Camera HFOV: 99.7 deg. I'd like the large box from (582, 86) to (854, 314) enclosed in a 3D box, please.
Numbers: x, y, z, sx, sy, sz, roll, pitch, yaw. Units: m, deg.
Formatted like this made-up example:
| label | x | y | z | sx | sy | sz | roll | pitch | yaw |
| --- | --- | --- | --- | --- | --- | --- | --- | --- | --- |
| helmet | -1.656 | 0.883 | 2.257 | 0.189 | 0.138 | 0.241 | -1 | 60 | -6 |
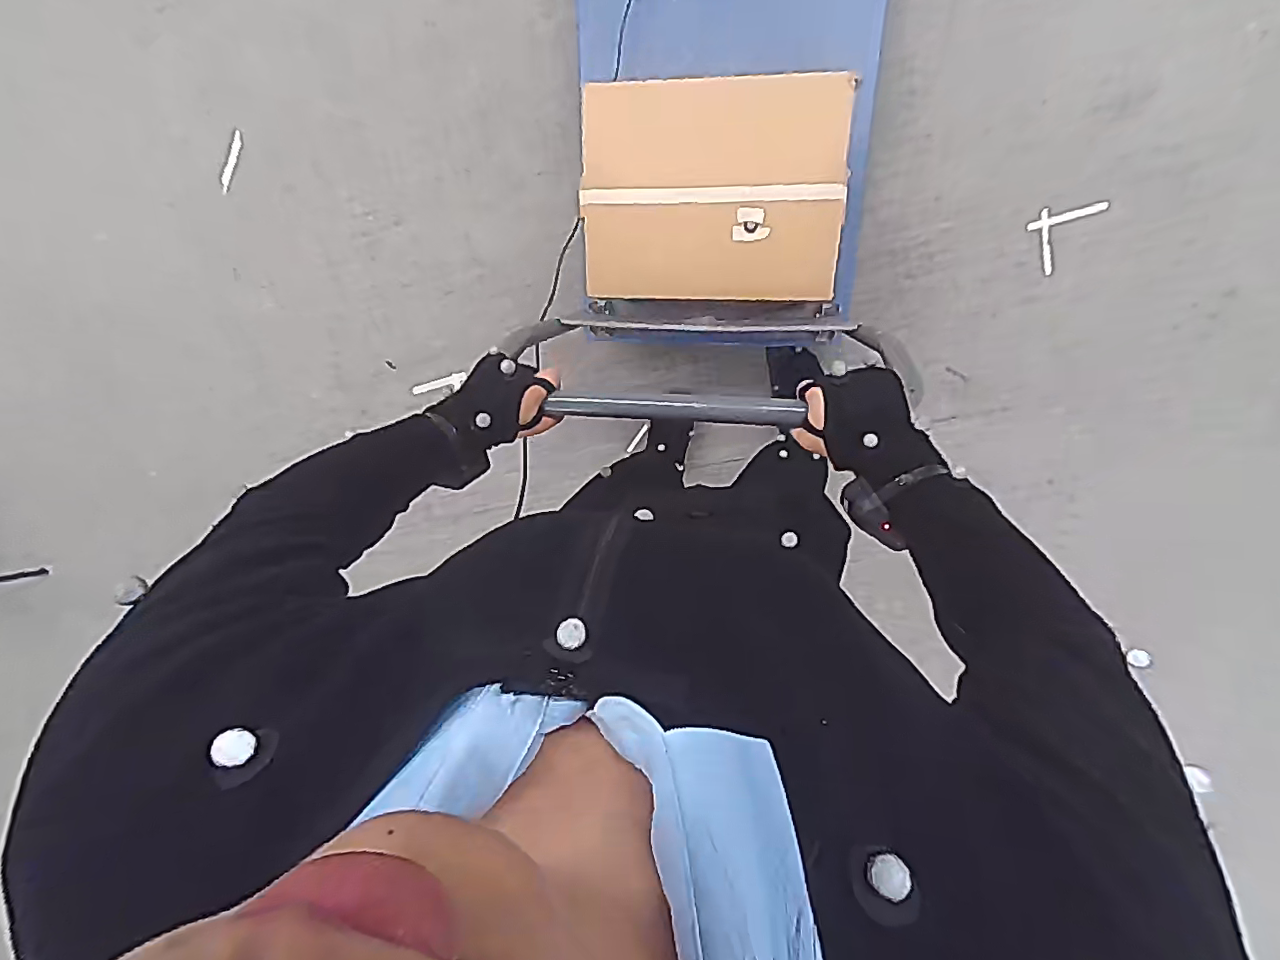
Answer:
| label | x | y | z | sx | sy | sz | roll | pitch | yaw |
| --- | --- | --- | --- | --- | --- | --- | --- | --- | --- |
| large box | 0.127 | -0.465 | 0.977 | 0.408 | 0.320 | 0.320 | 3 | 109 | 8 |
